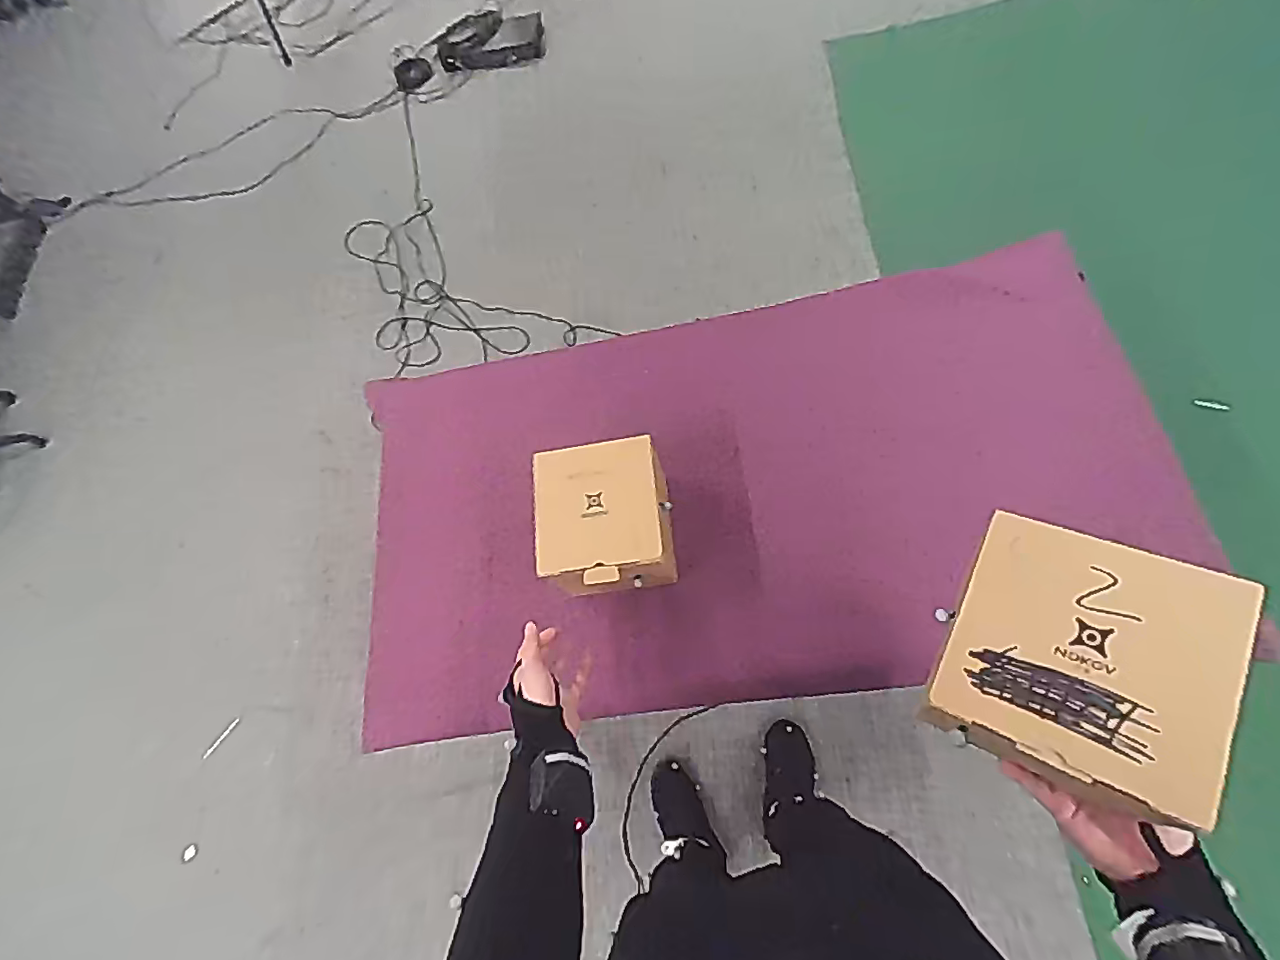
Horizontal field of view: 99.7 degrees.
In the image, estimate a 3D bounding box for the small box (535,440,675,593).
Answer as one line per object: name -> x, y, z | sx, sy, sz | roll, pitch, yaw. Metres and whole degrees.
small box -> -0.046, 0.063, 0.786 | 0.168, 0.176, 0.179 | -8, 68, 8
